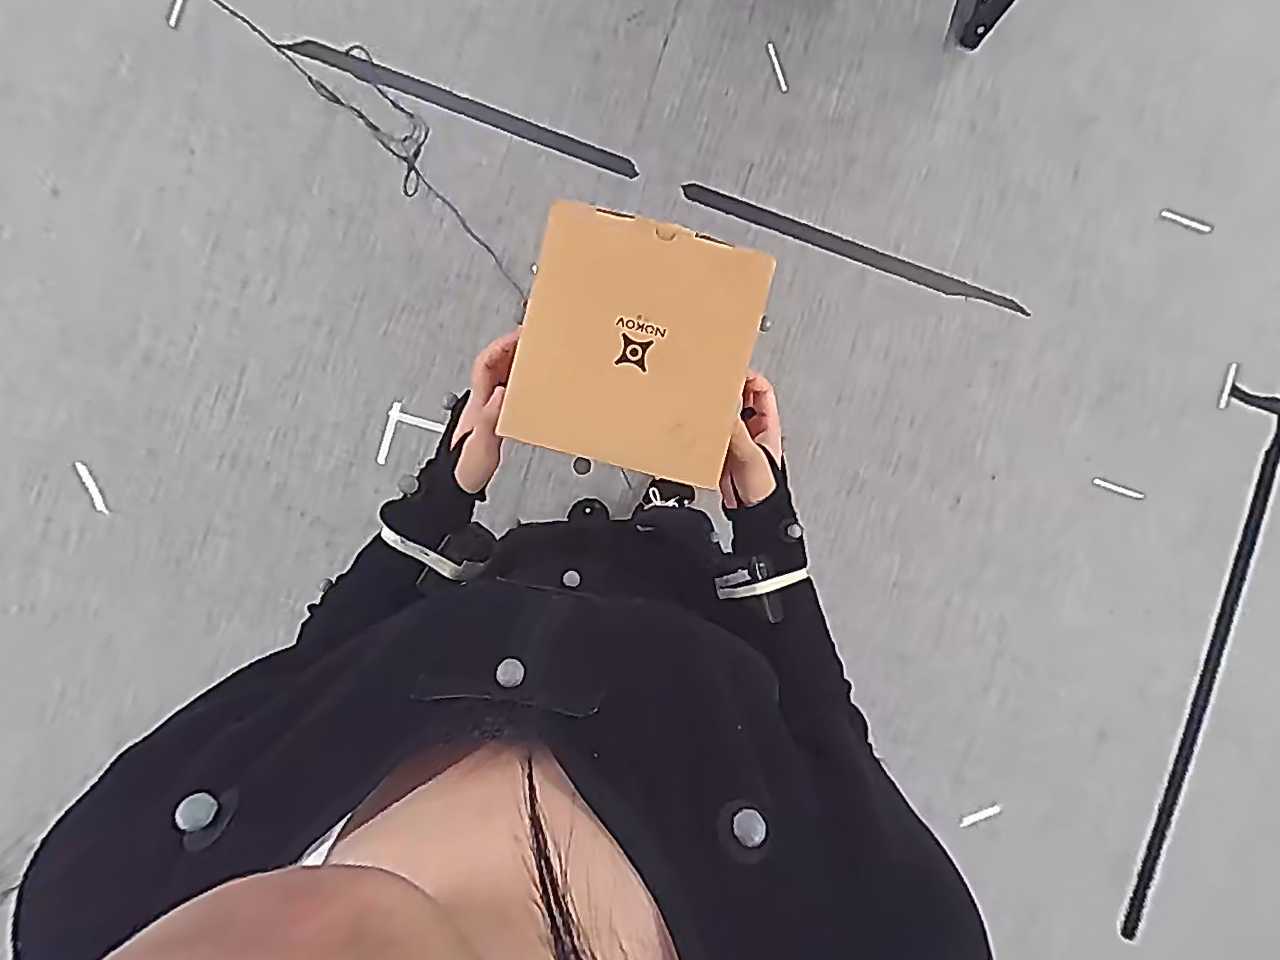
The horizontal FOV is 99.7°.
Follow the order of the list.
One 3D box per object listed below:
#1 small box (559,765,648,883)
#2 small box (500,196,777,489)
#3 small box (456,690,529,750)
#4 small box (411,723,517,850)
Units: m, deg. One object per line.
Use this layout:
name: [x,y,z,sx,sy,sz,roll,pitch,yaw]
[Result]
small box: [-0.083,0.788,1.254,0.179,0.176,0.168,7,88,-2]
small box: [-0.002,-0.099,0.462,0.168,0.176,0.179,14,91,-2]
small box: [-0.399,0.678,1.400,0.168,0.176,0.179,21,88,-4]
small box: [-0.390,0.689,1.235,0.168,0.176,0.179,18,90,-3]
